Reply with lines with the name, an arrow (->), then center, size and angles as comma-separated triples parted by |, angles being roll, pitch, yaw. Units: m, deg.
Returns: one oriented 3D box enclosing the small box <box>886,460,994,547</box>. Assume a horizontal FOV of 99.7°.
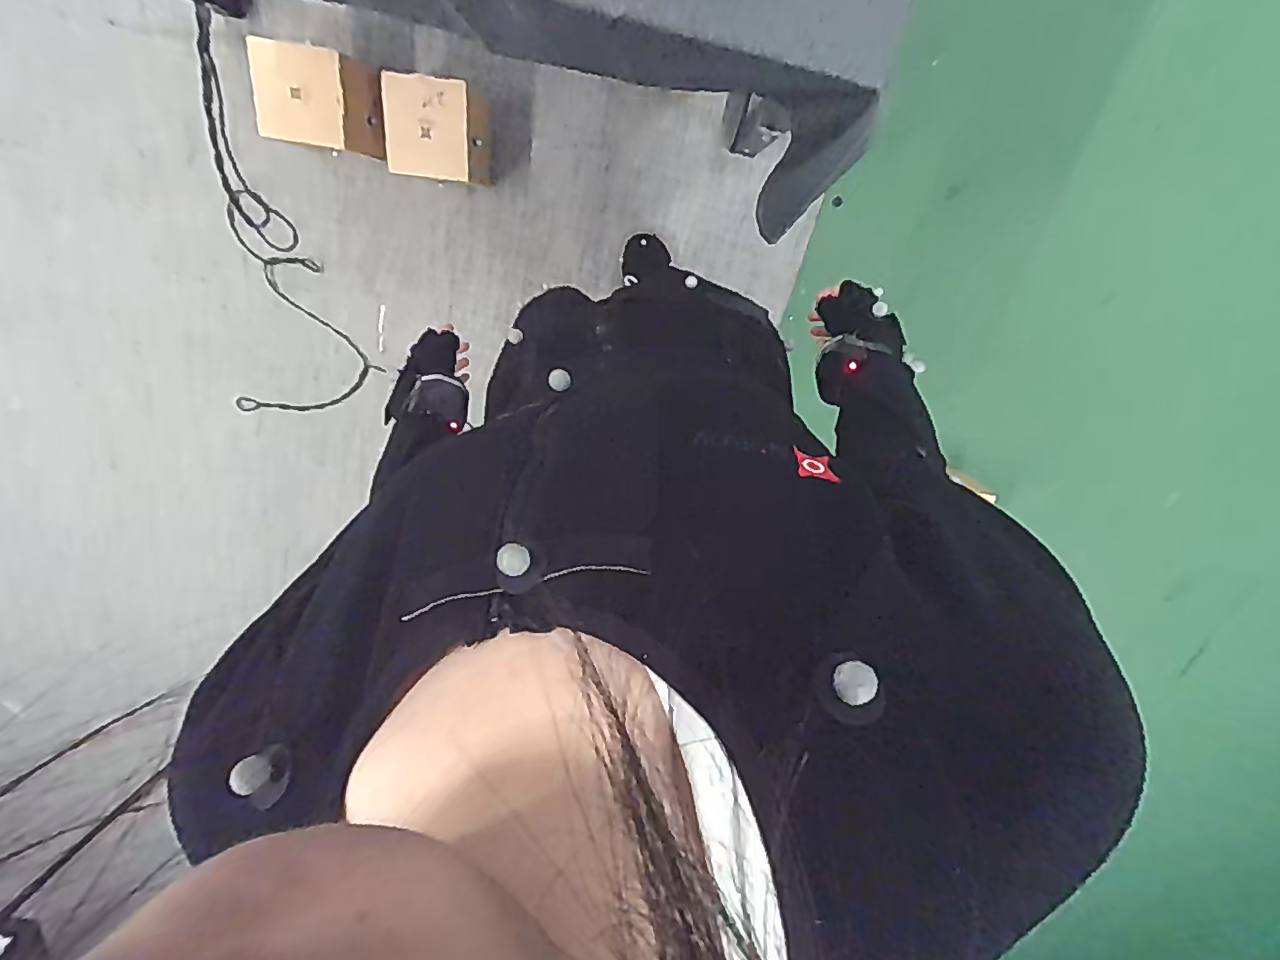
small box -> 0.813, 0.059, 1.489 | 0.179, 0.176, 0.168 | 12, 115, -3
